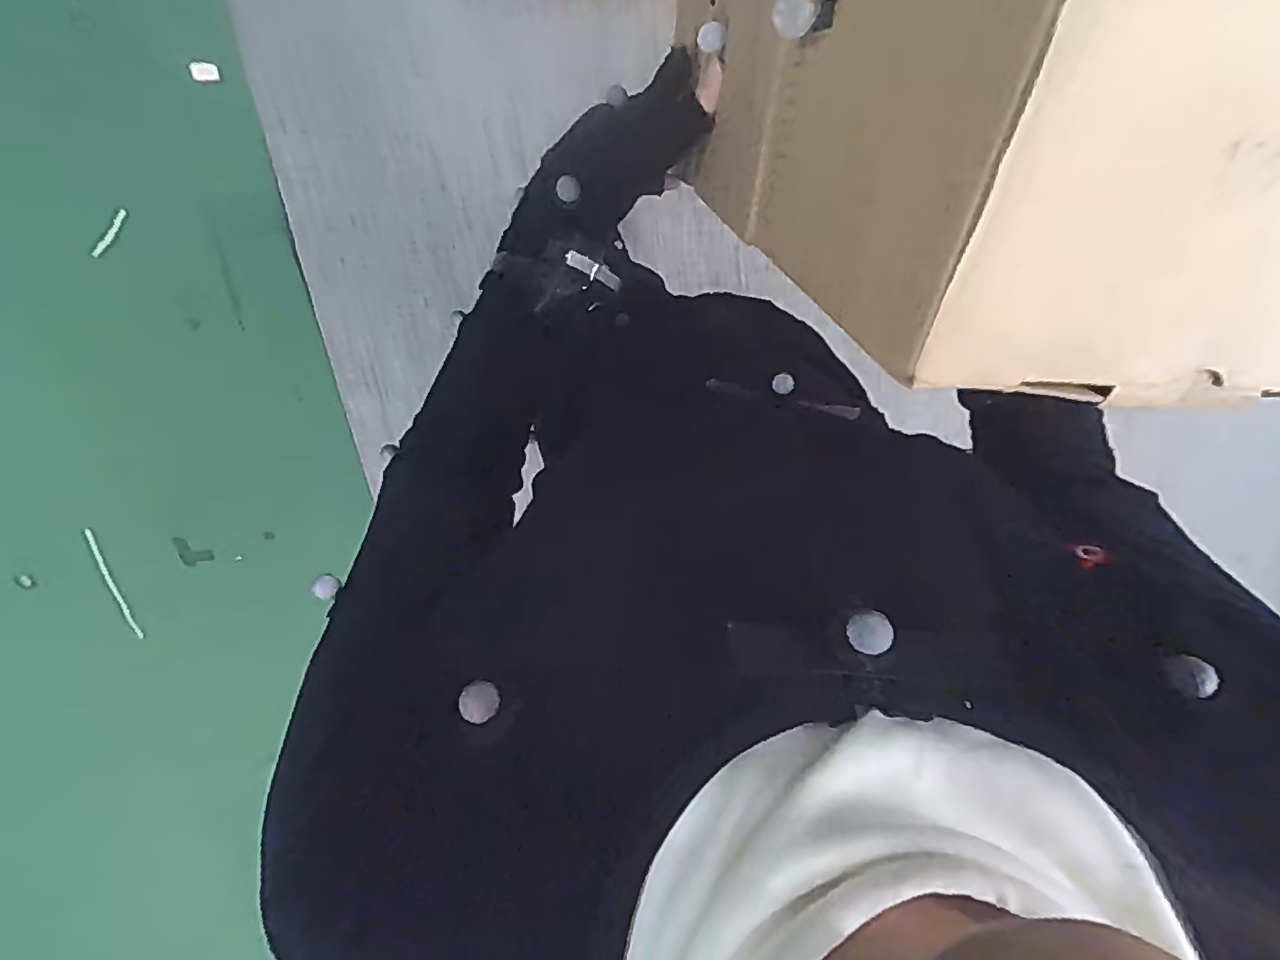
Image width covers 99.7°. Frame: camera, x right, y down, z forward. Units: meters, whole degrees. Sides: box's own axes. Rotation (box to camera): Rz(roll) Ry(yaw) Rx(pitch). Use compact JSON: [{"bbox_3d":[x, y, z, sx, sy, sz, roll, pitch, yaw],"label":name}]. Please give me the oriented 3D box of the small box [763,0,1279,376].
[{"bbox_3d":[0.145,-0.148,0.164,0.168,0.176,0.179,0,127,-4],"label":"small box"}]
